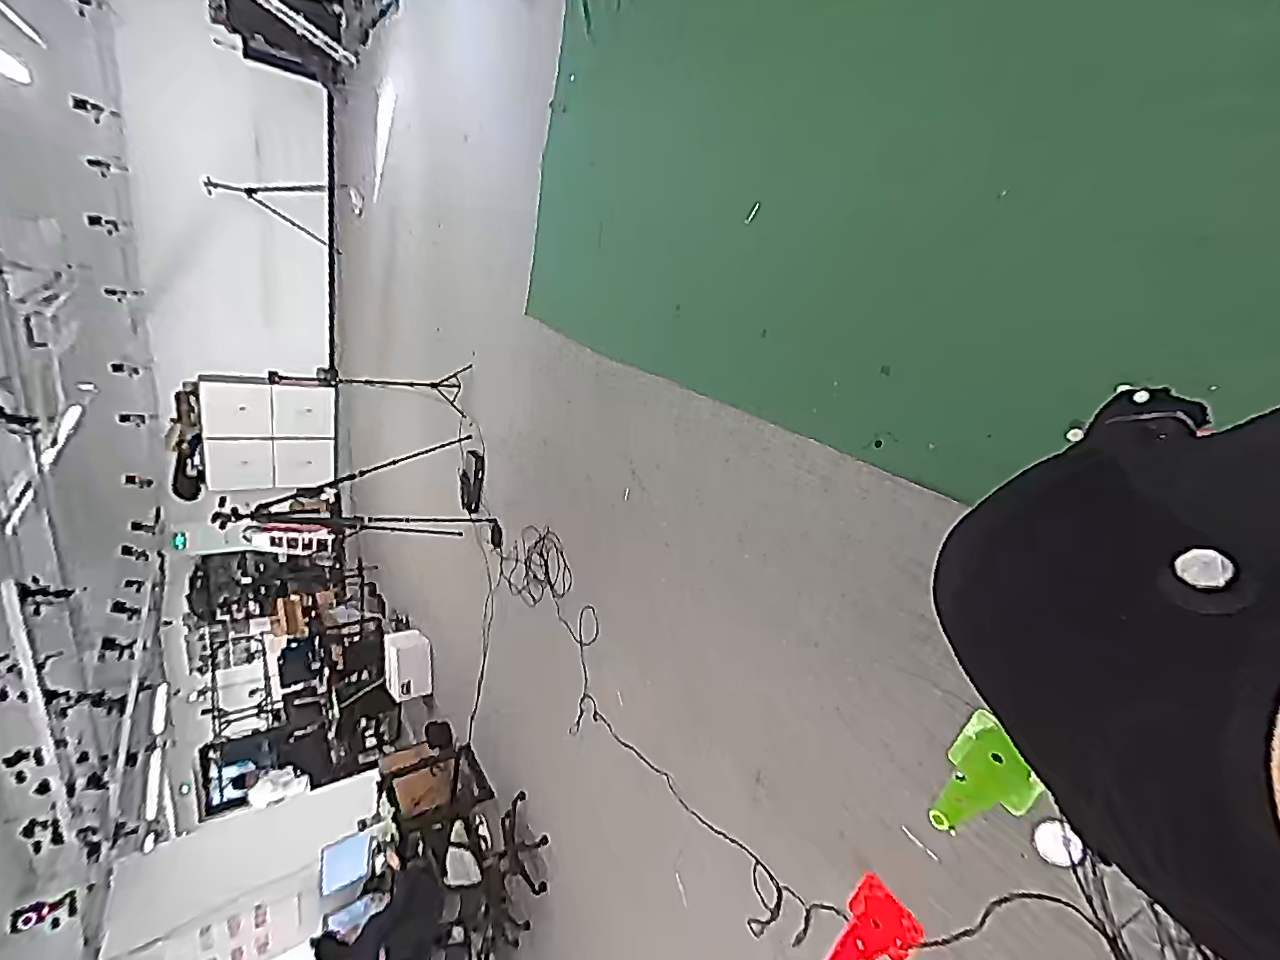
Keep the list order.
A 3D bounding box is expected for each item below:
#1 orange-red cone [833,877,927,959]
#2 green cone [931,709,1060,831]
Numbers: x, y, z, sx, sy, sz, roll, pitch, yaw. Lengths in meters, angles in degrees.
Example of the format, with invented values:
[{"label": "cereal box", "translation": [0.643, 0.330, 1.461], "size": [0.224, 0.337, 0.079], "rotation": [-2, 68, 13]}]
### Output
[{"label": "orange-red cone", "translation": [0.646, 1.395, 1.597], "size": [0.198, 0.360, 0.199], "rotation": [39, 122, 42]}, {"label": "green cone", "translation": [0.810, 0.743, 1.310], "size": [0.200, 0.368, 0.202], "rotation": [38, 123, 45]}]
